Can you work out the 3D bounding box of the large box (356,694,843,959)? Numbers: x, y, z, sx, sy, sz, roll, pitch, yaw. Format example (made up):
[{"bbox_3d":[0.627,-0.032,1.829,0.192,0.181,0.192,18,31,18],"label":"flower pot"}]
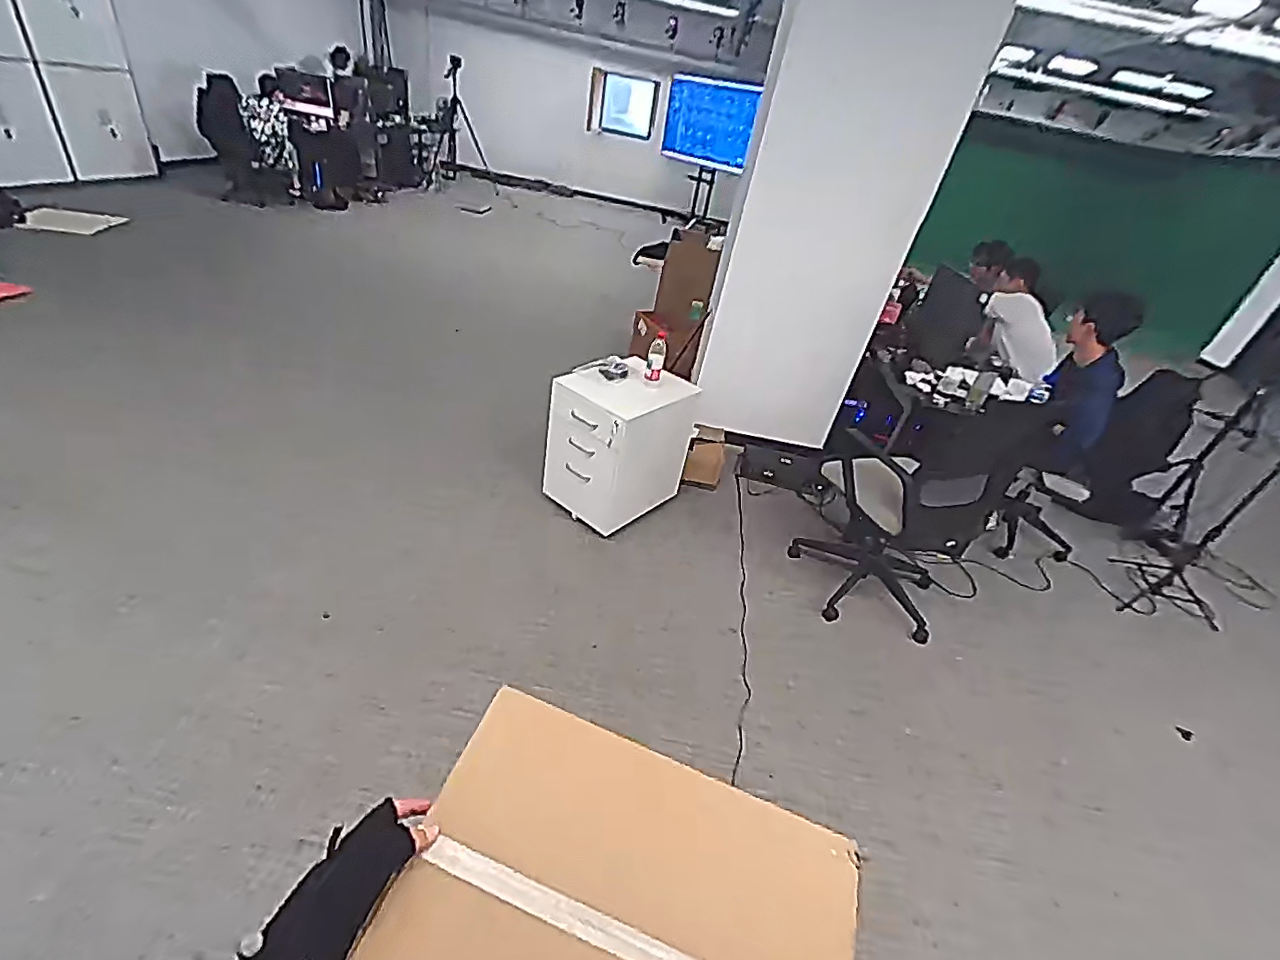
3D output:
[{"bbox_3d":[-0.047,0.505,0.583,0.408,0.320,0.320,21,45,7],"label":"large box"}]
